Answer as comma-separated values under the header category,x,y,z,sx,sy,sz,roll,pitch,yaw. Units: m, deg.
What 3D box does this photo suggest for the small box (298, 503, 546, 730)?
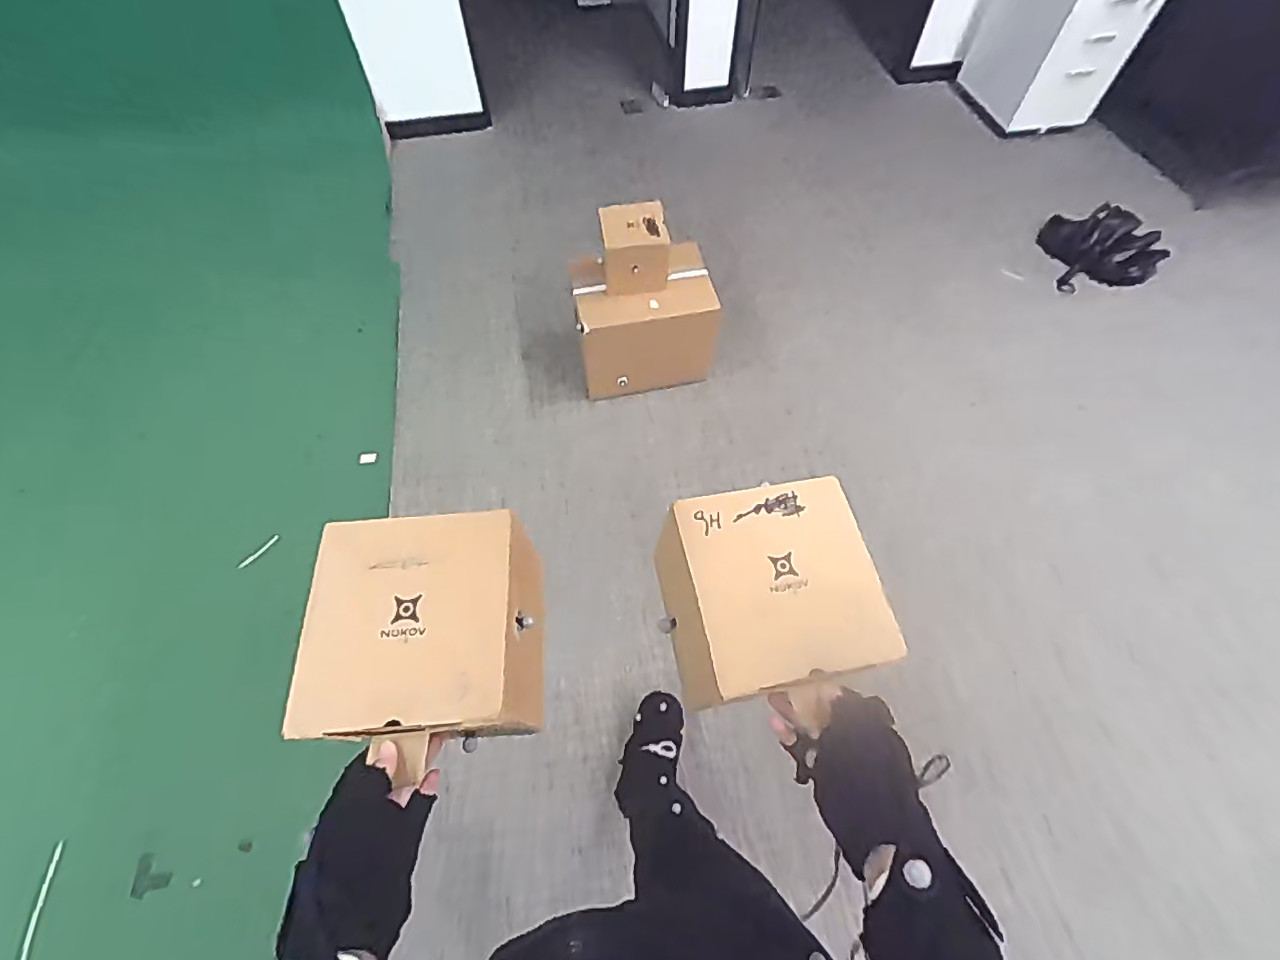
category,x,y,z,sx,sy,sz,roll,pitch,yaw
small box,-0.185,0.140,0.522,0.168,0.176,0.179,-5,62,-2

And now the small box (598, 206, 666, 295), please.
category,x,y,z,sx,sy,sz,roll,pitch,yaw
small box,-0.026,-0.644,1.529,0.179,0.176,0.168,-5,63,-4
